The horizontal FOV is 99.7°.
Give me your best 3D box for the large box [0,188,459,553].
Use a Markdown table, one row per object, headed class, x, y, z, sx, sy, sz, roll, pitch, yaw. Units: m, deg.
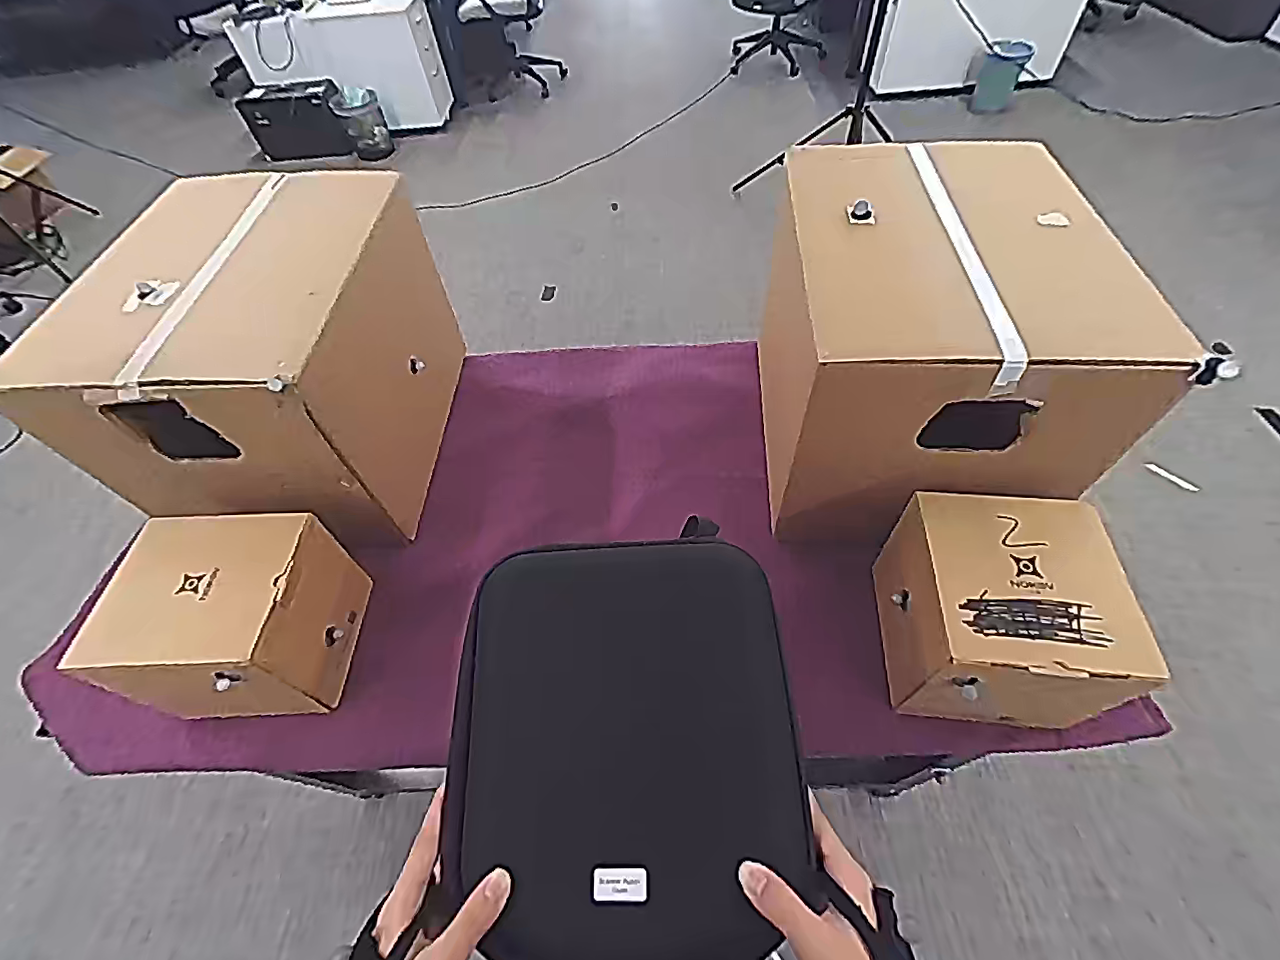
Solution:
| class | x | y | z | sx | sy | sz | roll | pitch | yaw |
| --- | --- | --- | --- | --- | --- | --- | --- | --- | --- |
| large box | -0.472 | -0.147 | 0.750 | 0.320 | 0.320 | 0.408 | -2 | 56 | 2 |
